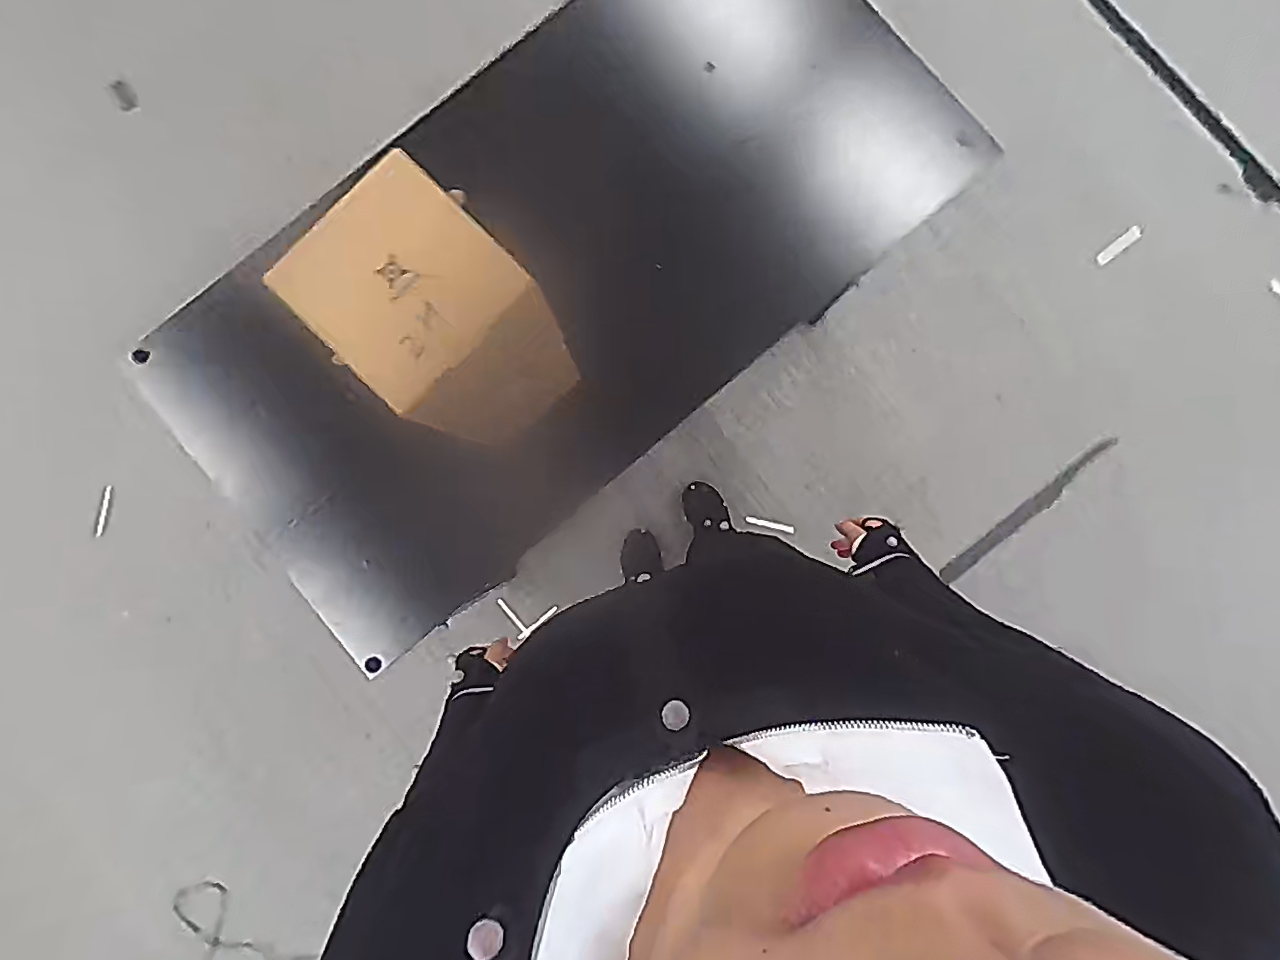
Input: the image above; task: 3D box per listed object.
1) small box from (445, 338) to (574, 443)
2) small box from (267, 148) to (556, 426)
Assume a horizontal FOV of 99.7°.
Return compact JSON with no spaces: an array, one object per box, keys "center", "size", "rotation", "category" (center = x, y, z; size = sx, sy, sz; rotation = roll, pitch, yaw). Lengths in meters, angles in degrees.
[{"center":[-0.207,-0.163,0.716],"size":[0.168,0.176,0.179],"rotation":[-44,88,-1],"category":"small box"},{"center":[-0.211,-0.174,0.551],"size":[0.179,0.176,0.168],"rotation":[44,89,2],"category":"small box"}]
